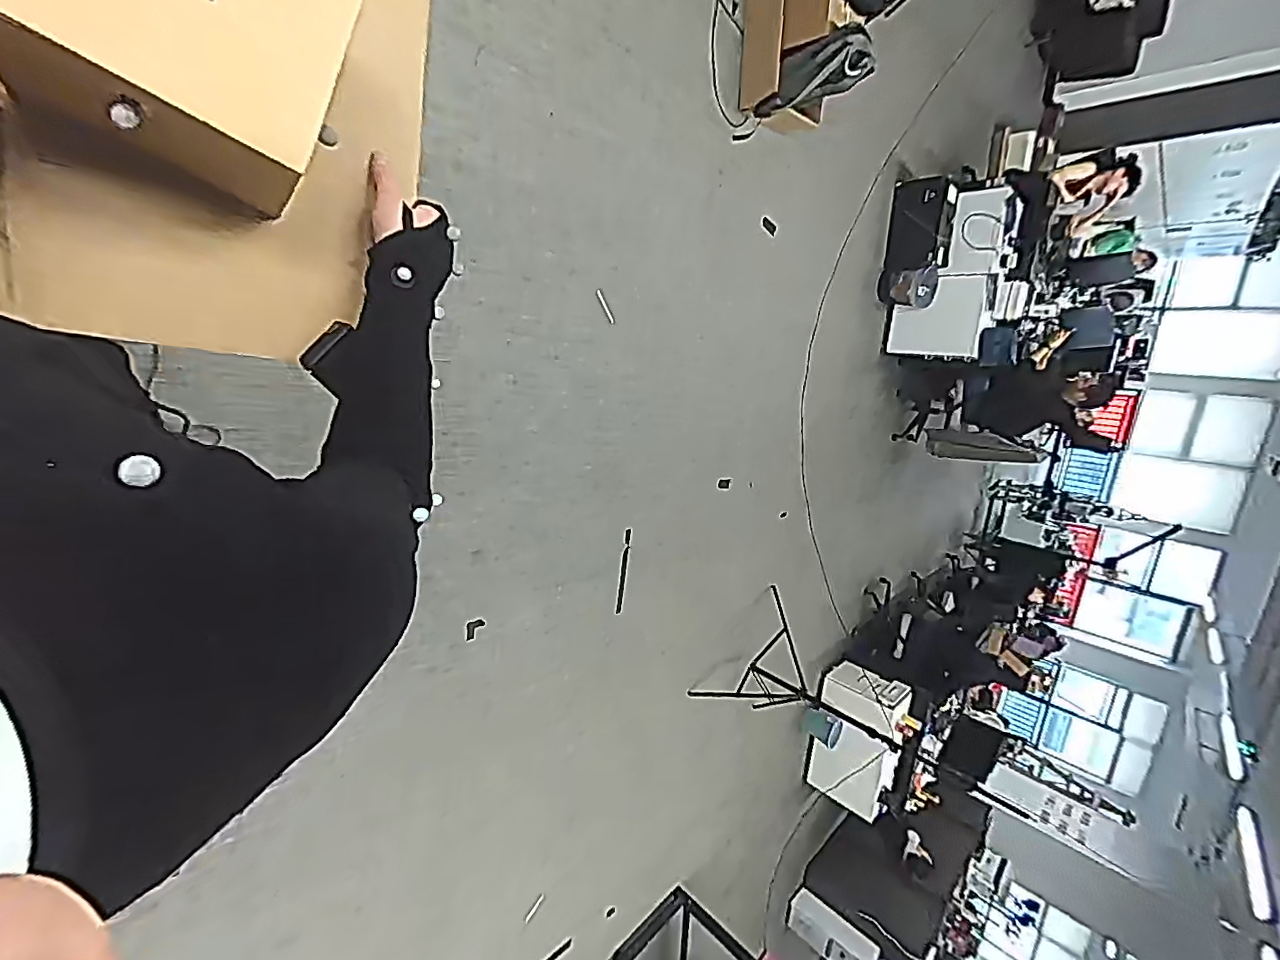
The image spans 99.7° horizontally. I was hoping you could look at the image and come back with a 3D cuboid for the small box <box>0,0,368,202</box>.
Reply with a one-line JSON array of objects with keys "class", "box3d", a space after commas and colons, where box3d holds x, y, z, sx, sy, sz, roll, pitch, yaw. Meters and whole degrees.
[{"class": "small box", "box3d": [-0.329, -0.333, 0.399, 0.179, 0.176, 0.168, 18, 89, -39]}]
